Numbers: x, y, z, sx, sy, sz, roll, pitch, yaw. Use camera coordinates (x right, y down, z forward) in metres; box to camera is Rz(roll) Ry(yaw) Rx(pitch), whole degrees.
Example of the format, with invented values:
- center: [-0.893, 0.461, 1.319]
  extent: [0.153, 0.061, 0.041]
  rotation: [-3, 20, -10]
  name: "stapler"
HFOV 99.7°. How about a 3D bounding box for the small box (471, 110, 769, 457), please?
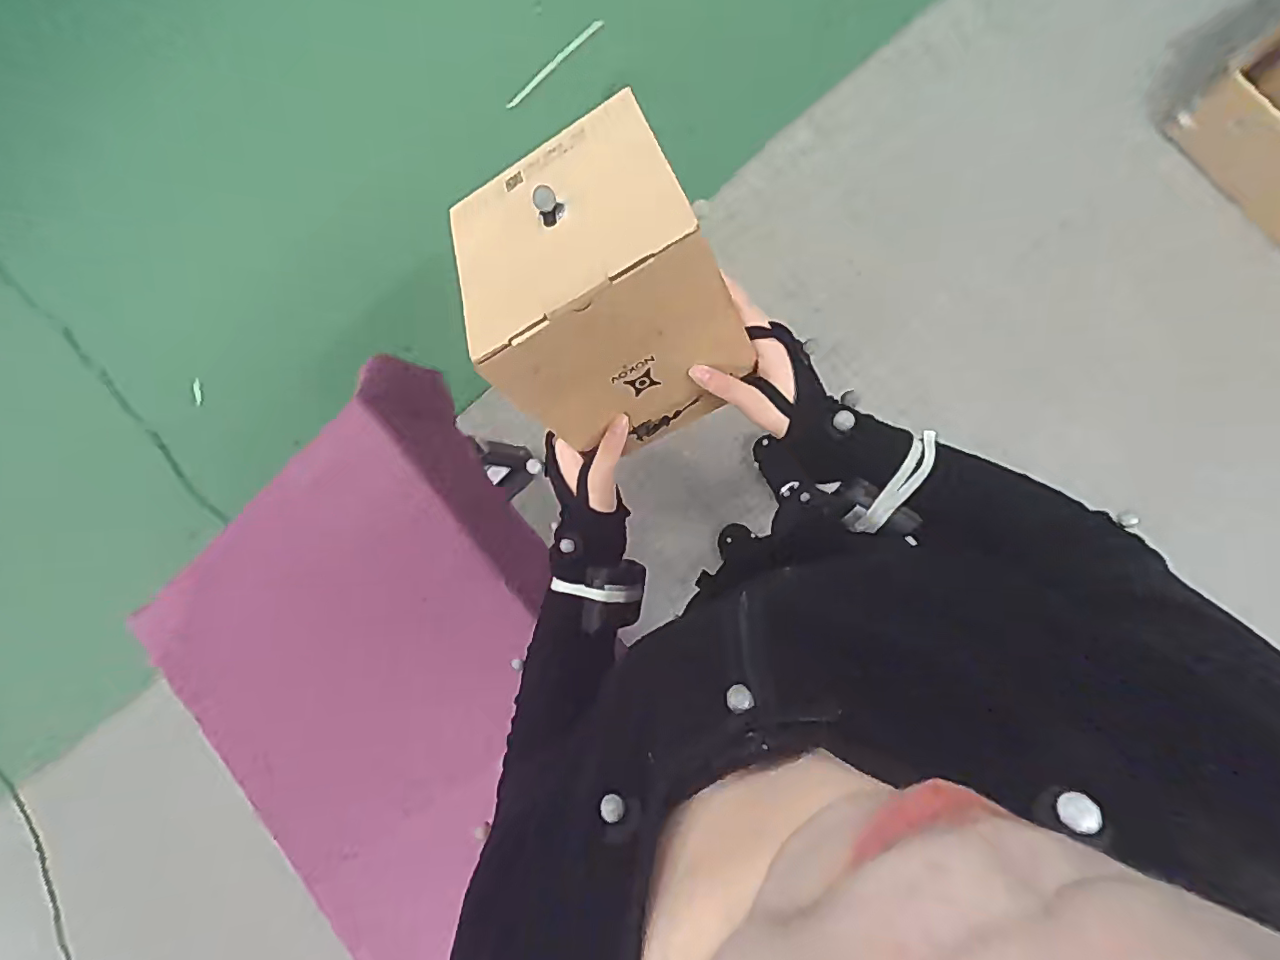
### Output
- center: [-0.017, -0.152, 0.435]
  extent: [0.168, 0.179, 0.176]
  rotation: [-23, 60, 15]
  name: "small box"
